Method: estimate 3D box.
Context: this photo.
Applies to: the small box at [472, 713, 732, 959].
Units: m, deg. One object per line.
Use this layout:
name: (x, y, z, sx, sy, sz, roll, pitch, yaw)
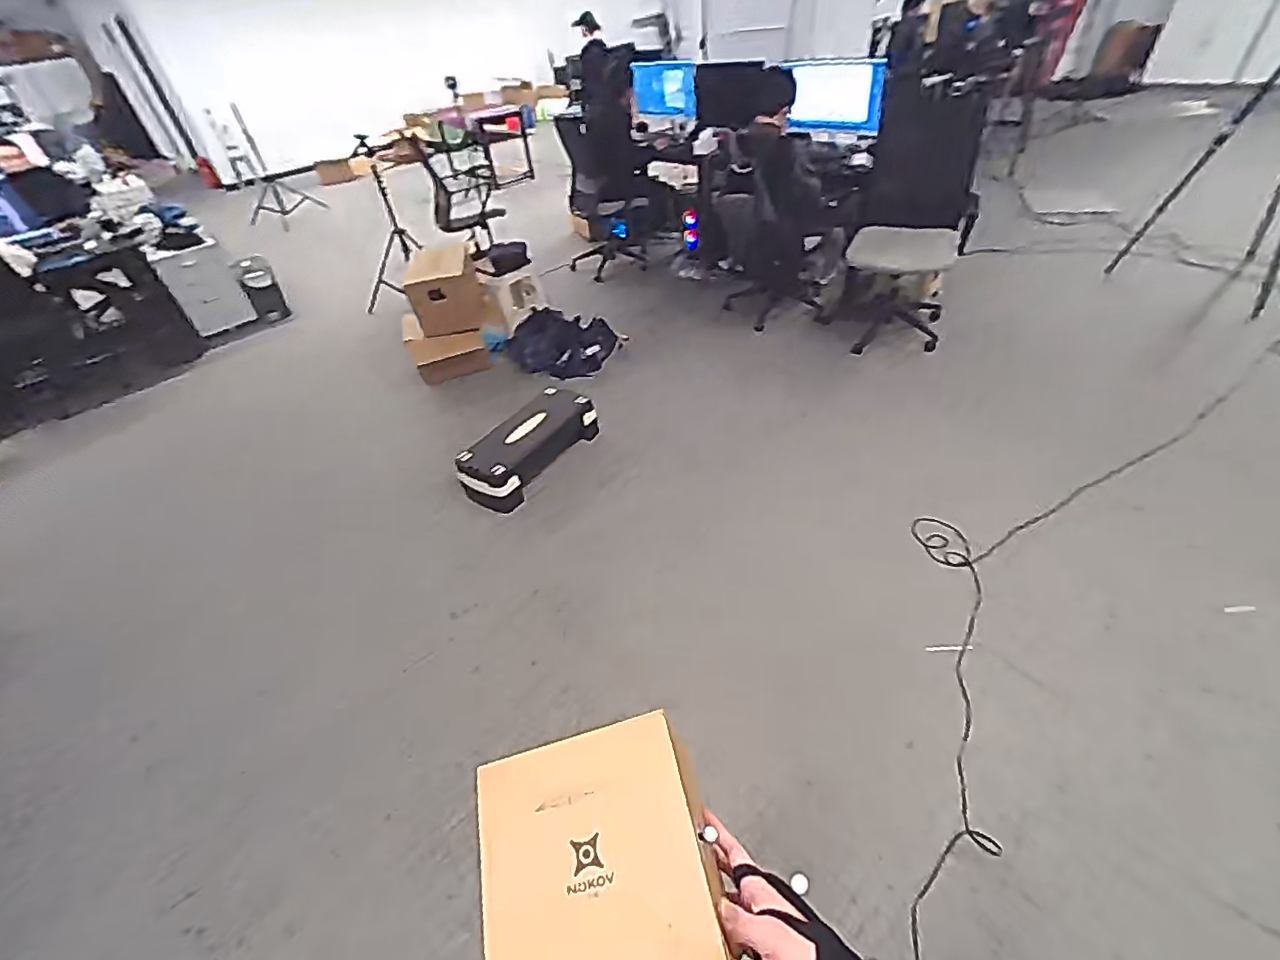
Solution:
small box: (-0.027, 0.327, 0.462, 0.168, 0.176, 0.179, -18, 51, 1)
